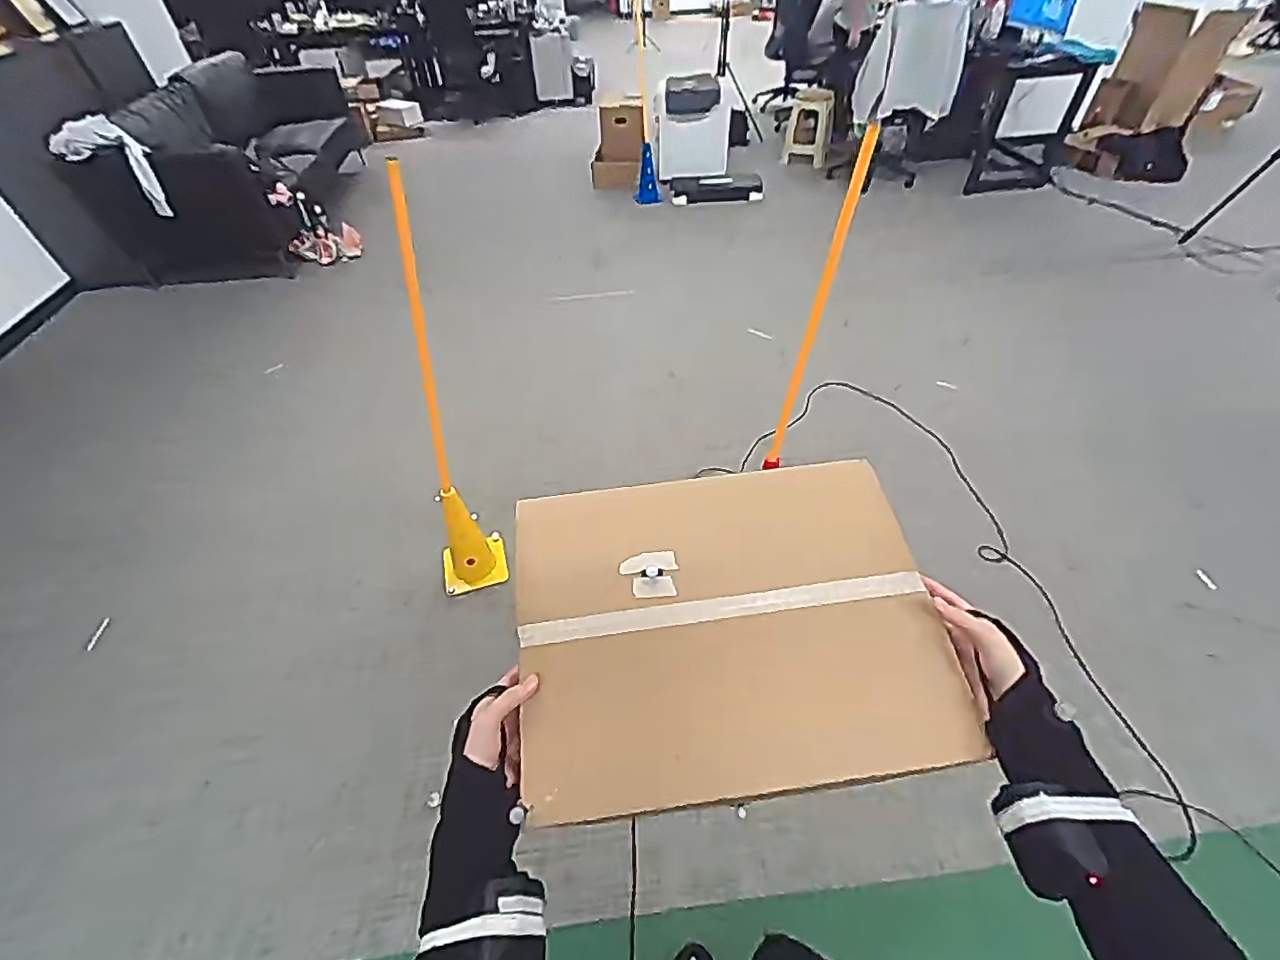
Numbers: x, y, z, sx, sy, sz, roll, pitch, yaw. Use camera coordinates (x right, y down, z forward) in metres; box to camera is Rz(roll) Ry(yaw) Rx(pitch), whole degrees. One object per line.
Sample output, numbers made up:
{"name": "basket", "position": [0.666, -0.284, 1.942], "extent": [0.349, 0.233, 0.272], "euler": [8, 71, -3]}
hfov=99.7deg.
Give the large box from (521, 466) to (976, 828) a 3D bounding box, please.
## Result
{"name": "large box", "position": [0.089, 0.217, 0.670], "extent": [0.408, 0.320, 0.320], "euler": [-8, 57, -2]}
